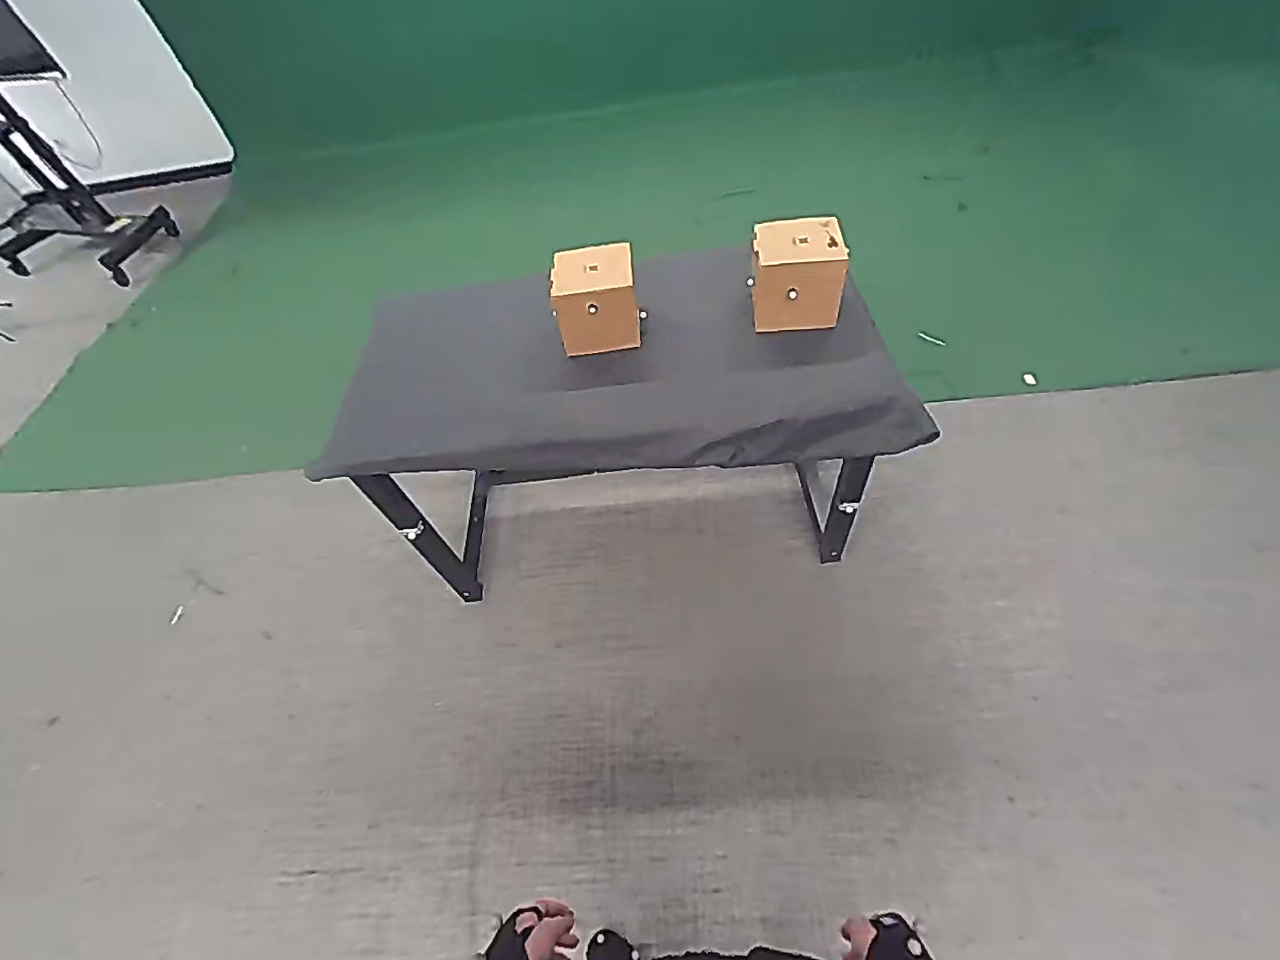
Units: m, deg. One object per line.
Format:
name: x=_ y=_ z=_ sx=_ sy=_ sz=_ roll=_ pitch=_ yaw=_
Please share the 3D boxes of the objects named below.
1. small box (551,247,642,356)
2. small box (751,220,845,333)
small box: x=-0.095 y=-0.401 z=1.234 sx=0.179 sy=0.176 sz=0.168 roll=-6 pitch=54 yaw=3
small box: x=0.338 y=-0.443 z=1.192 sx=0.179 sy=0.176 sz=0.168 roll=-2 pitch=54 yaw=8
